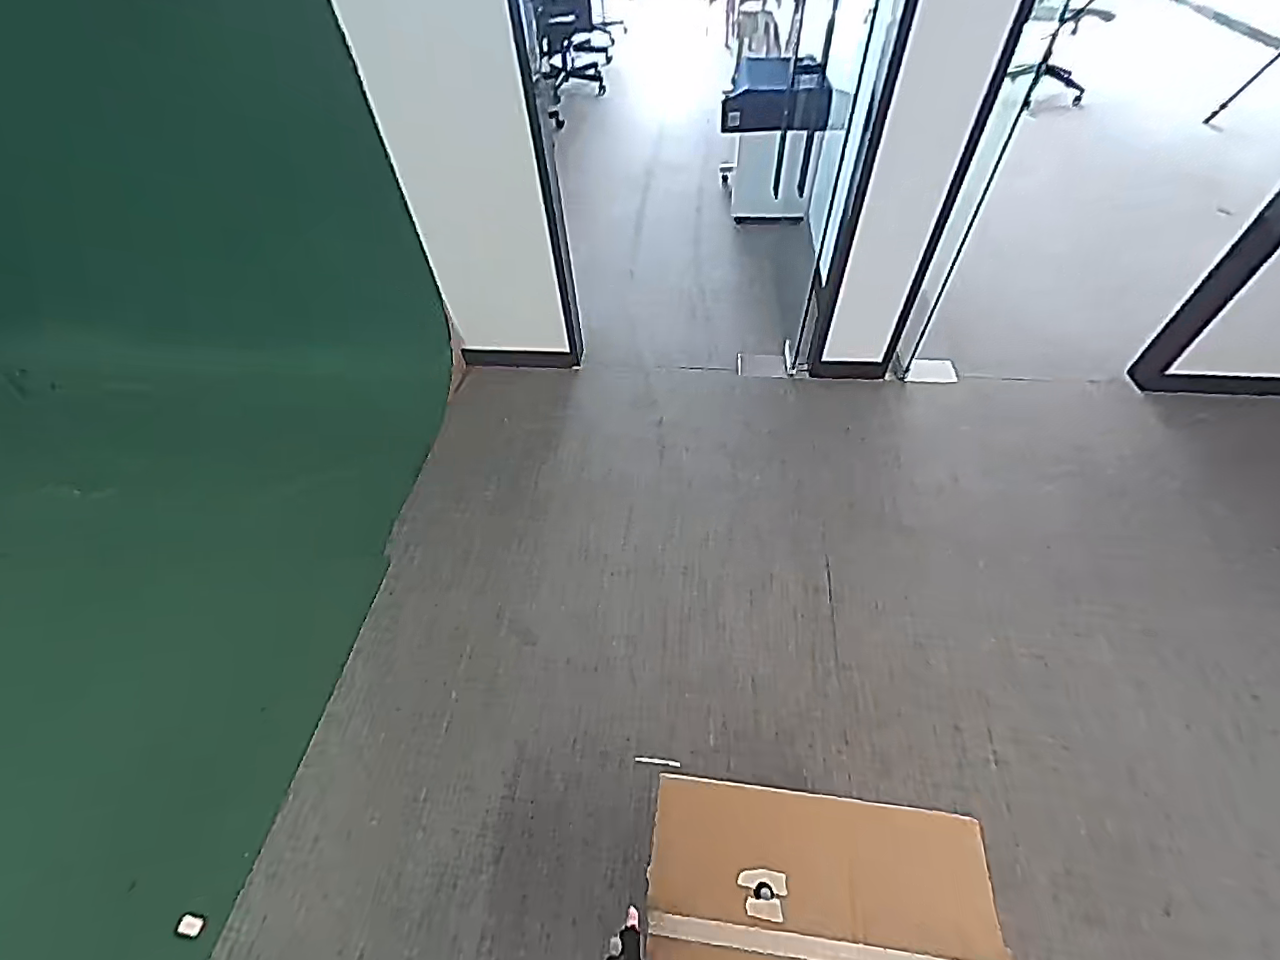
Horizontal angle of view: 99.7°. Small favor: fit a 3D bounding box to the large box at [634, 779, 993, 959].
[{"bbox_3d":[0.206,0.619,0.737,0.408,0.320,0.320,4,56,8],"label":"large box"}]
